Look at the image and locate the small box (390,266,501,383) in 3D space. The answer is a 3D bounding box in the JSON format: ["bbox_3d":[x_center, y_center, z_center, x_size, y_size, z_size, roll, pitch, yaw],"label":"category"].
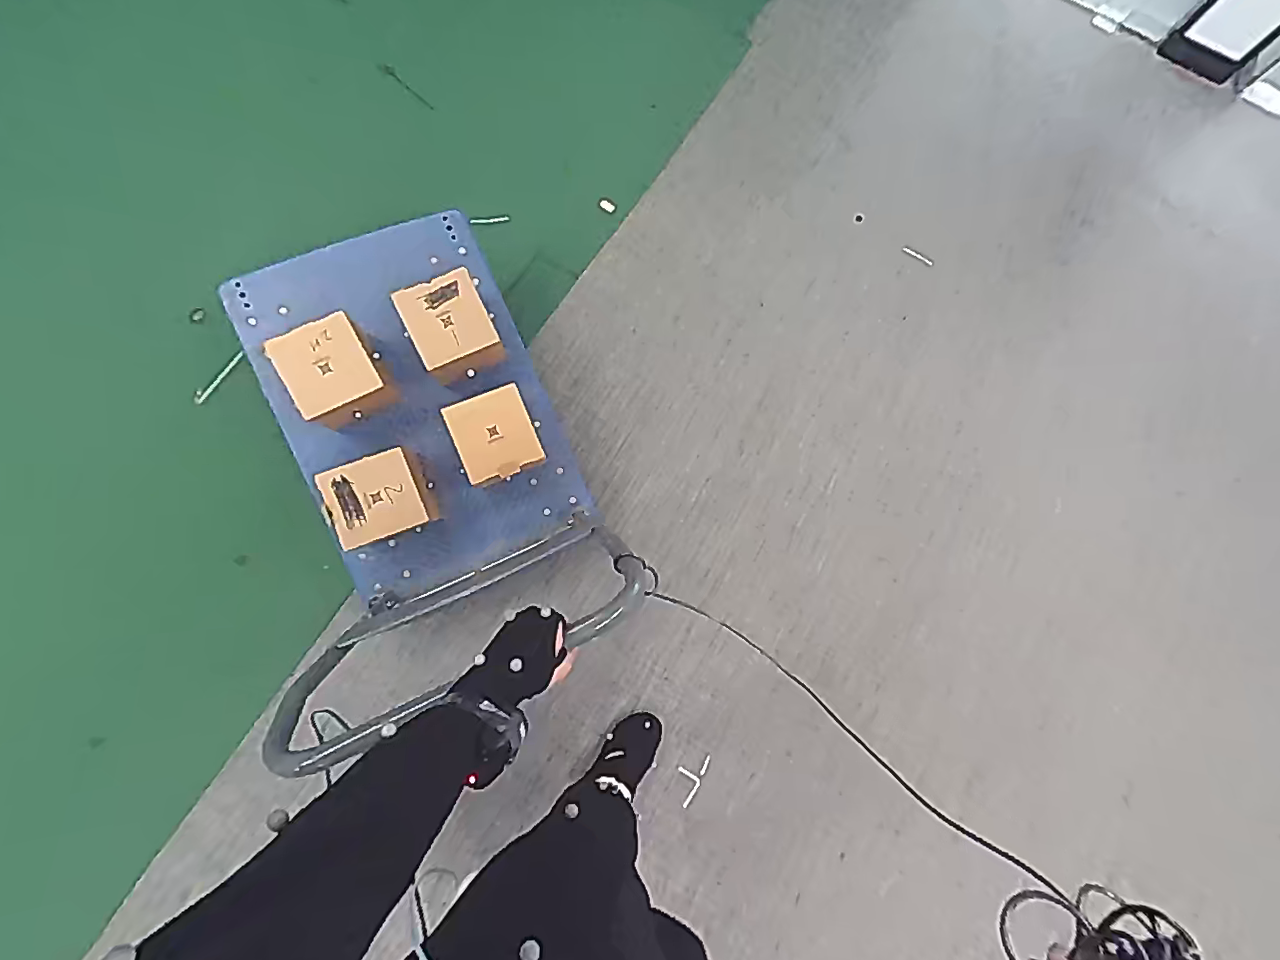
[{"bbox_3d":[-0.423,-0.336,1.201,0.168,0.176,0.179,-26,94,-10],"label":"small box"}]

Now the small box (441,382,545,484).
[{"bbox_3d":[-0.326,-0.097,1.216,0.168,0.176,0.179,-23,94,-11],"label":"small box"}]

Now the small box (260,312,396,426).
[{"bbox_3d":[-0.649,-0.225,1.153,0.168,0.176,0.179,-28,94,-12],"label":"small box"}]
